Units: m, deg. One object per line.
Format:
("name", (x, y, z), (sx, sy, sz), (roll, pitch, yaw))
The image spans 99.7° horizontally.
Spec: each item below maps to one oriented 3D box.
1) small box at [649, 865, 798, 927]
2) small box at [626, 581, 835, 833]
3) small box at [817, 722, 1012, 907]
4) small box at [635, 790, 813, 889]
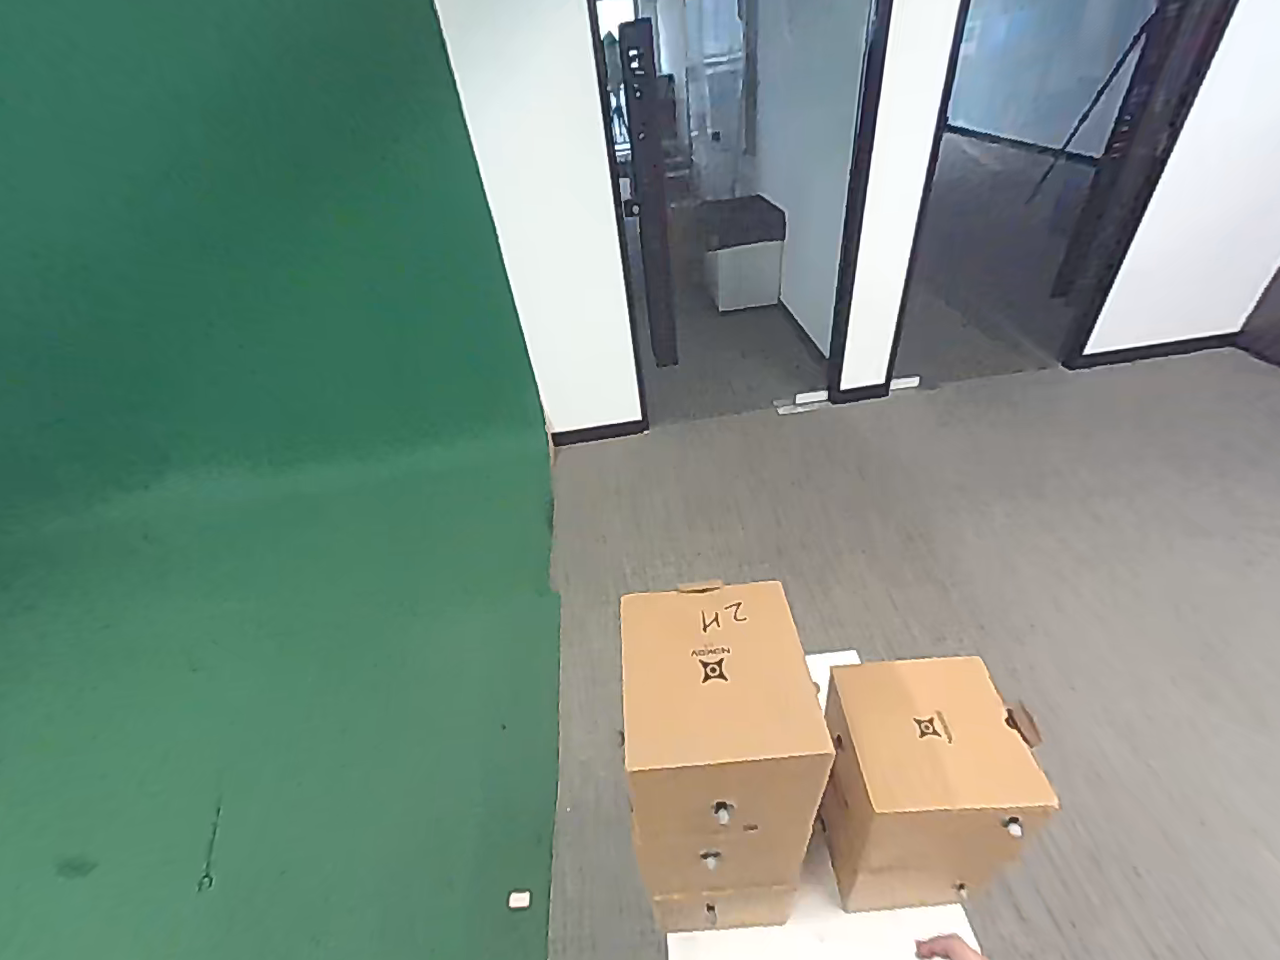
("small box", (0.105, 0.485, 0.736), (0.179, 0.176, 0.168), (-6, 40, 2))
("small box", (0.076, 0.226, 0.534), (0.168, 0.176, 0.179), (-5, 39, 1))
("small box", (0.349, 0.454, 0.733), (0.179, 0.176, 0.168), (-8, 39, 4))
("small box", (0.087, 0.355, 0.635), (0.179, 0.176, 0.168), (-5, 40, 1))
